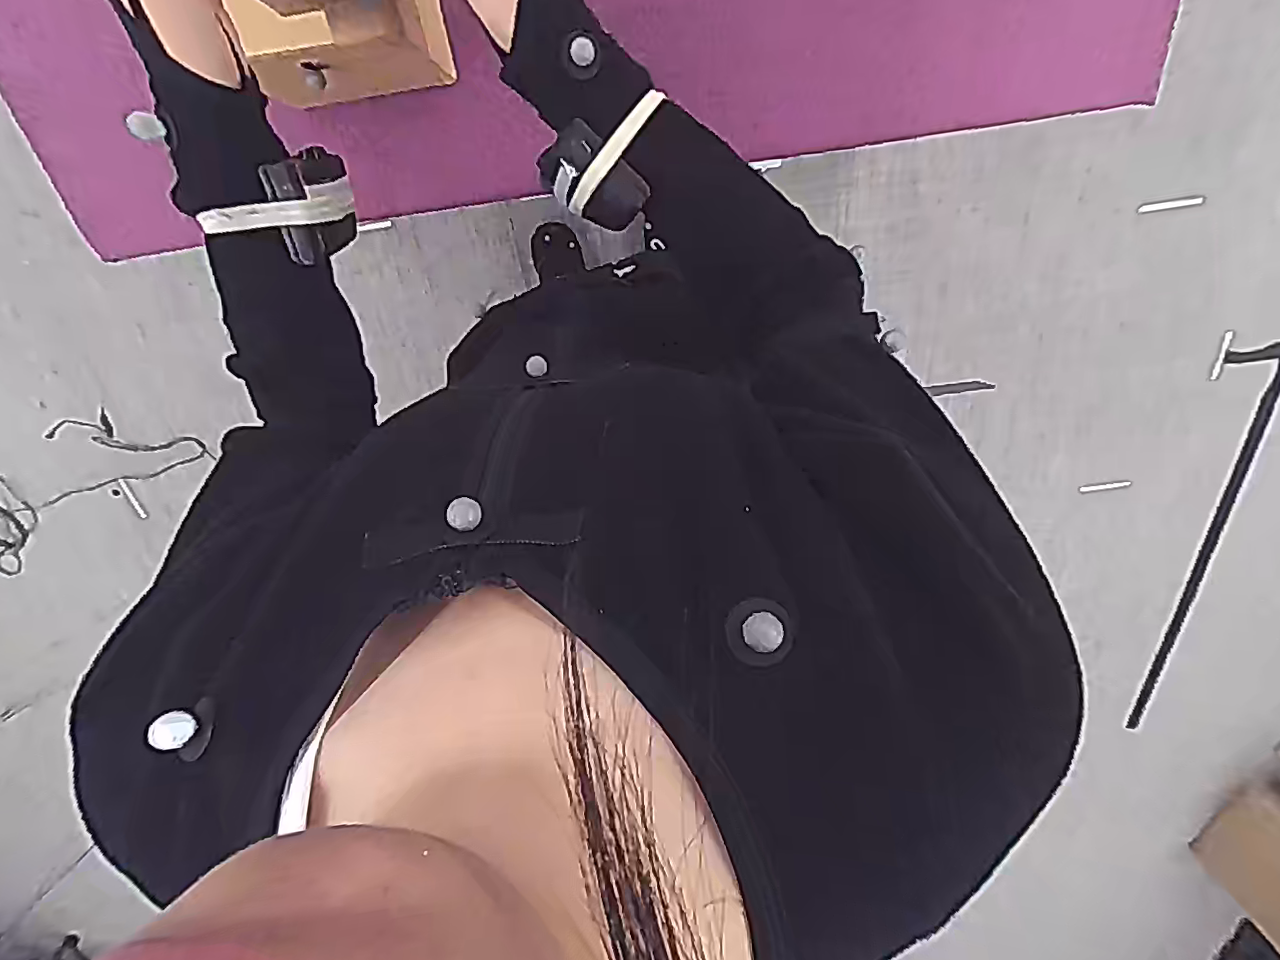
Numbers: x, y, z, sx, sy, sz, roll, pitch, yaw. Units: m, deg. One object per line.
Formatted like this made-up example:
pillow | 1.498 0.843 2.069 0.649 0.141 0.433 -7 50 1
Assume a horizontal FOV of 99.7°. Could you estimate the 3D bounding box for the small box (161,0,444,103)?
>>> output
small box | -0.284 -0.442 0.460 0.179 0.176 0.168 -8 117 2
